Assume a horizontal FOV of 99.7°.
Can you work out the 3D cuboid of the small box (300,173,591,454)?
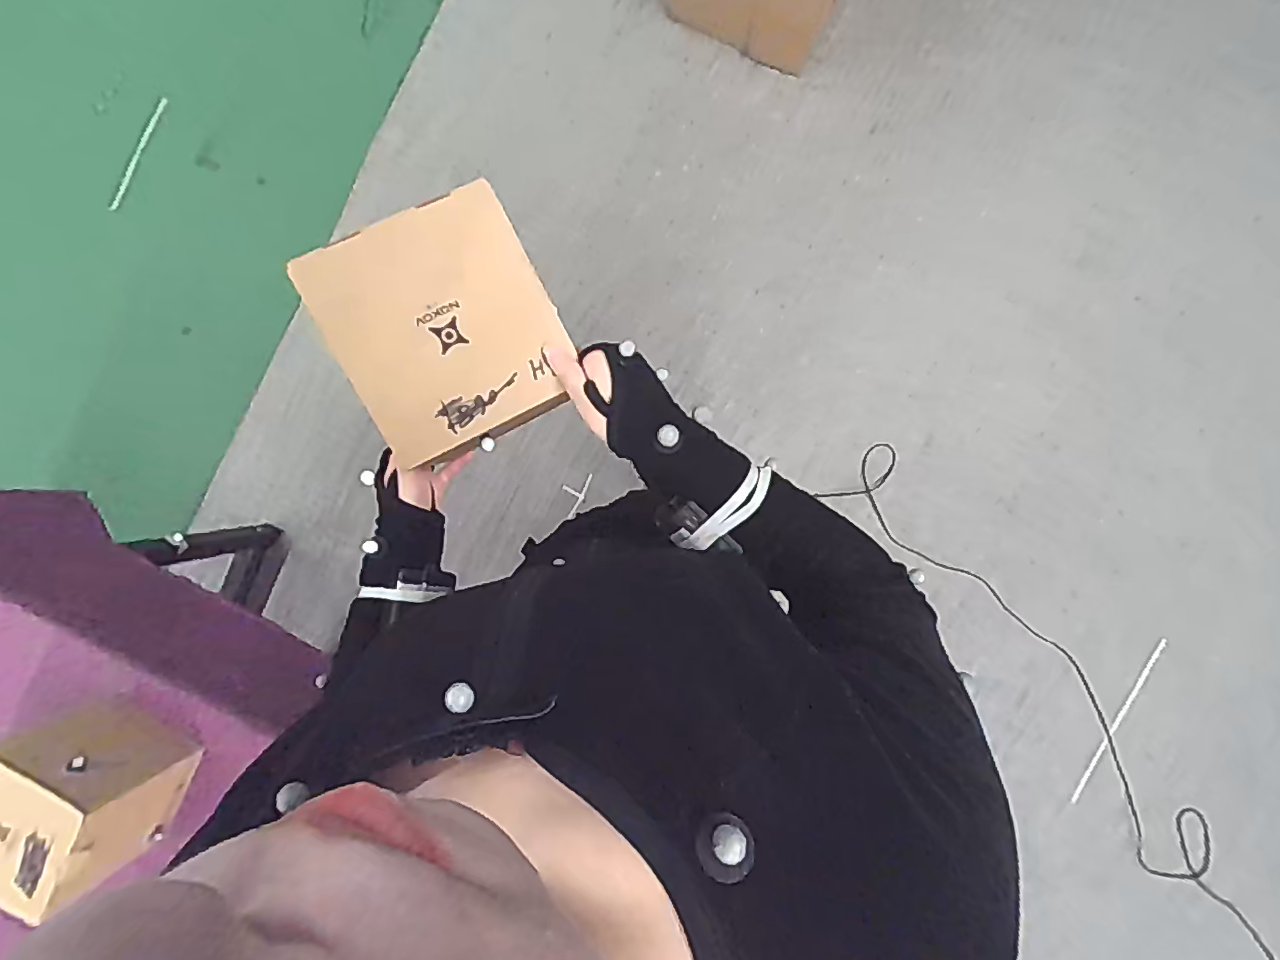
[{"bbox_3d":[-0.161,-0.134,0.500,0.168,0.176,0.179,-27,98,-7],"label":"small box"}]

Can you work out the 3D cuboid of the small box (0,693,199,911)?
[{"bbox_3d":[-0.786,0.433,0.761,0.179,0.176,0.168,27,93,4],"label":"small box"}]
